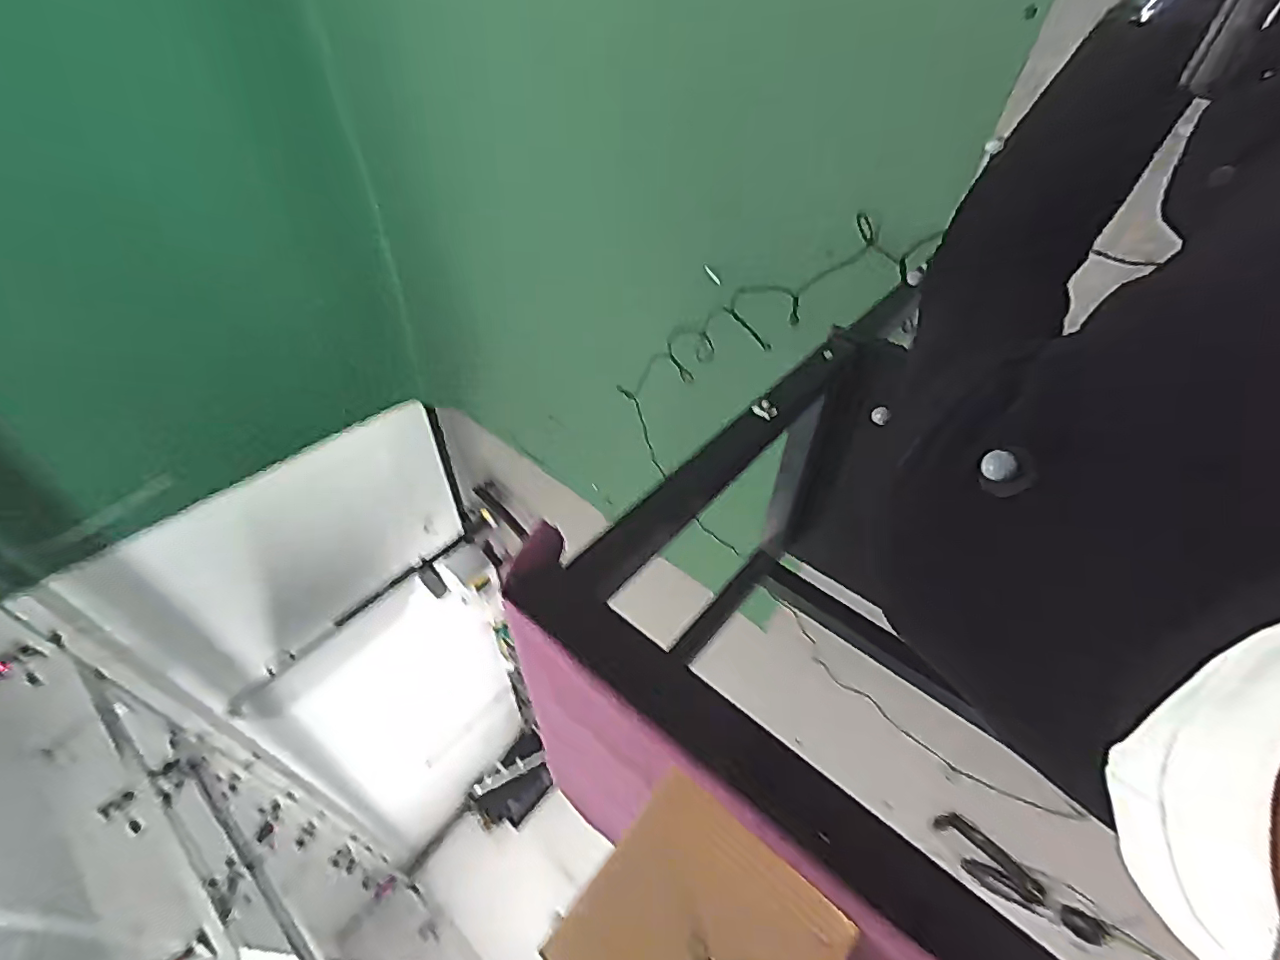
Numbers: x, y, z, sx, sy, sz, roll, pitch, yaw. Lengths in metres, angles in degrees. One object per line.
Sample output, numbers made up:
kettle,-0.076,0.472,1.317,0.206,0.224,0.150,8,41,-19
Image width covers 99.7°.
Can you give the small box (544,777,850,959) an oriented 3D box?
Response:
small box,0.044,0.390,0.443,0.179,0.176,0.168,30,140,26
